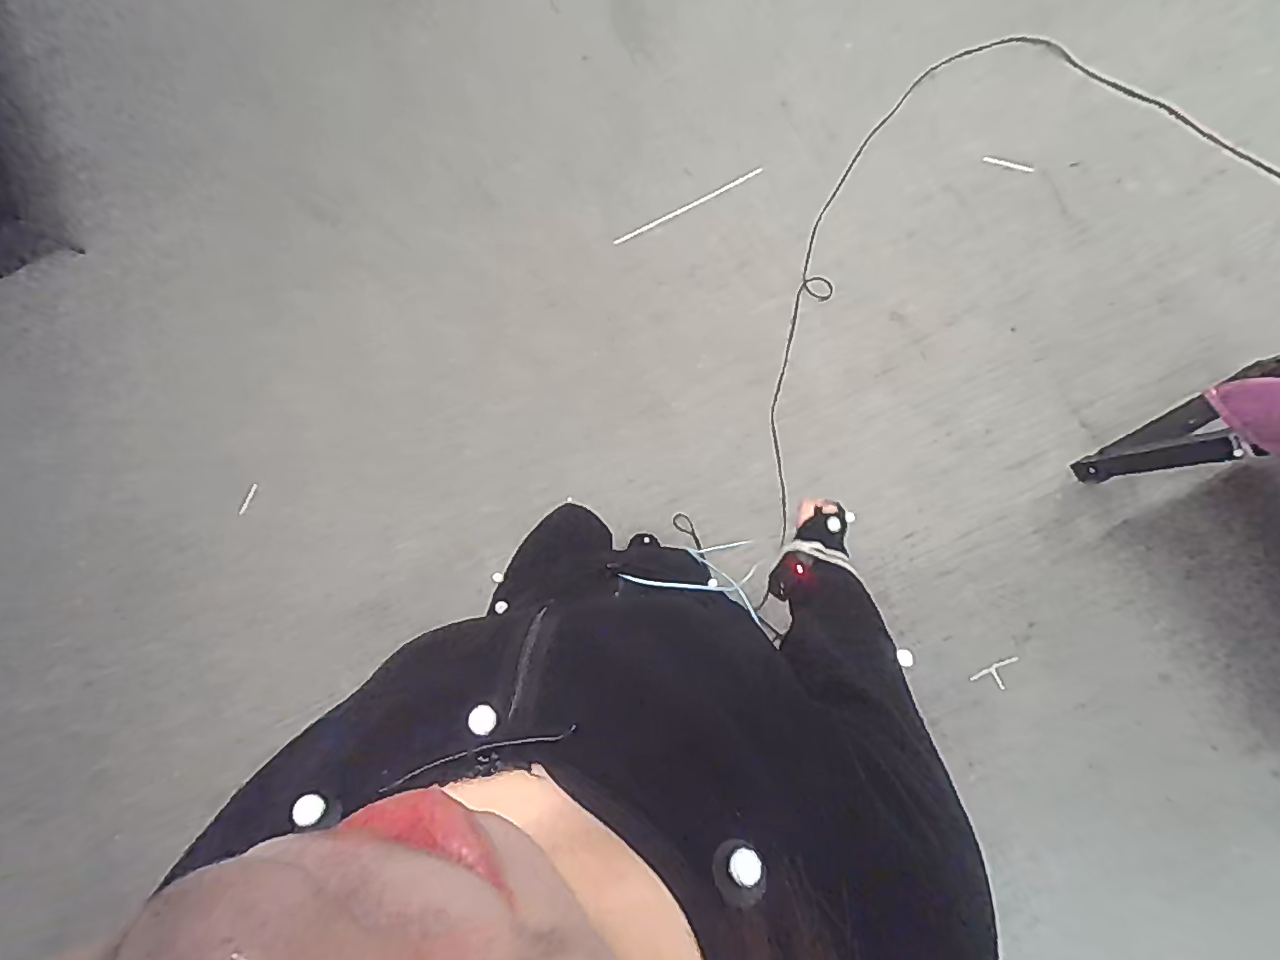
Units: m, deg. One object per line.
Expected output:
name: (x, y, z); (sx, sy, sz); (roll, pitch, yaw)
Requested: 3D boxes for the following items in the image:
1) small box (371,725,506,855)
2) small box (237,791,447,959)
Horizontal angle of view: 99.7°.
small box: (-0.400, 0.628, 1.101); (0.168, 0.176, 0.179); (-28, 85, 1)
small box: (-0.411, 0.591, 0.774); (0.179, 0.176, 0.168); (-25, 85, -1)
